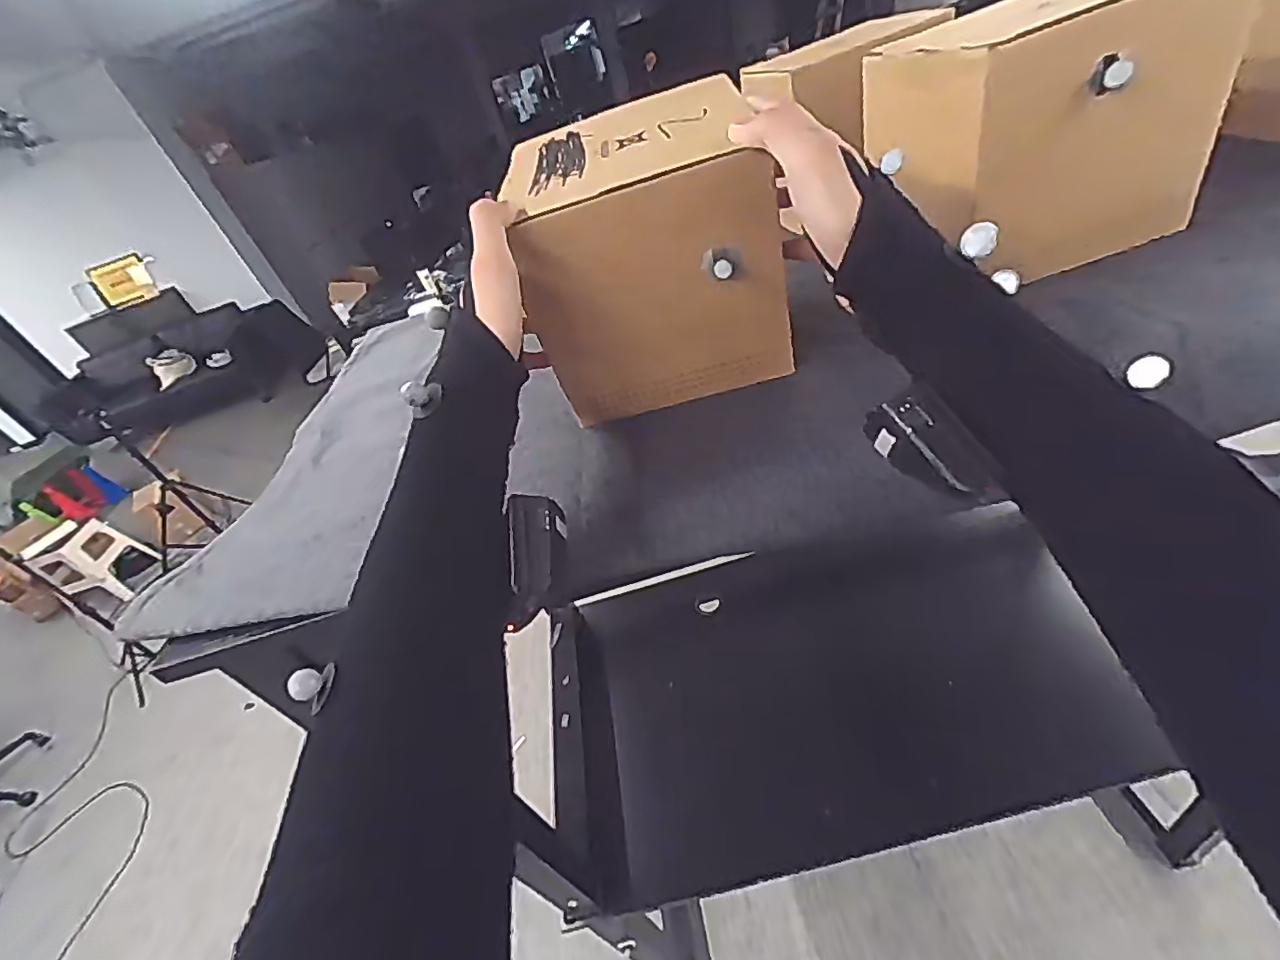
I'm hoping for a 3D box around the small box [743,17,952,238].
[{"bbox_3d":[0.232,-0.406,0.636,0.168,0.176,0.179,-18,38,4],"label":"small box"}]

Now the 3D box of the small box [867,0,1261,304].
[{"bbox_3d":[0.302,-0.269,0.435,0.179,0.176,0.168,-18,37,4],"label":"small box"}]
